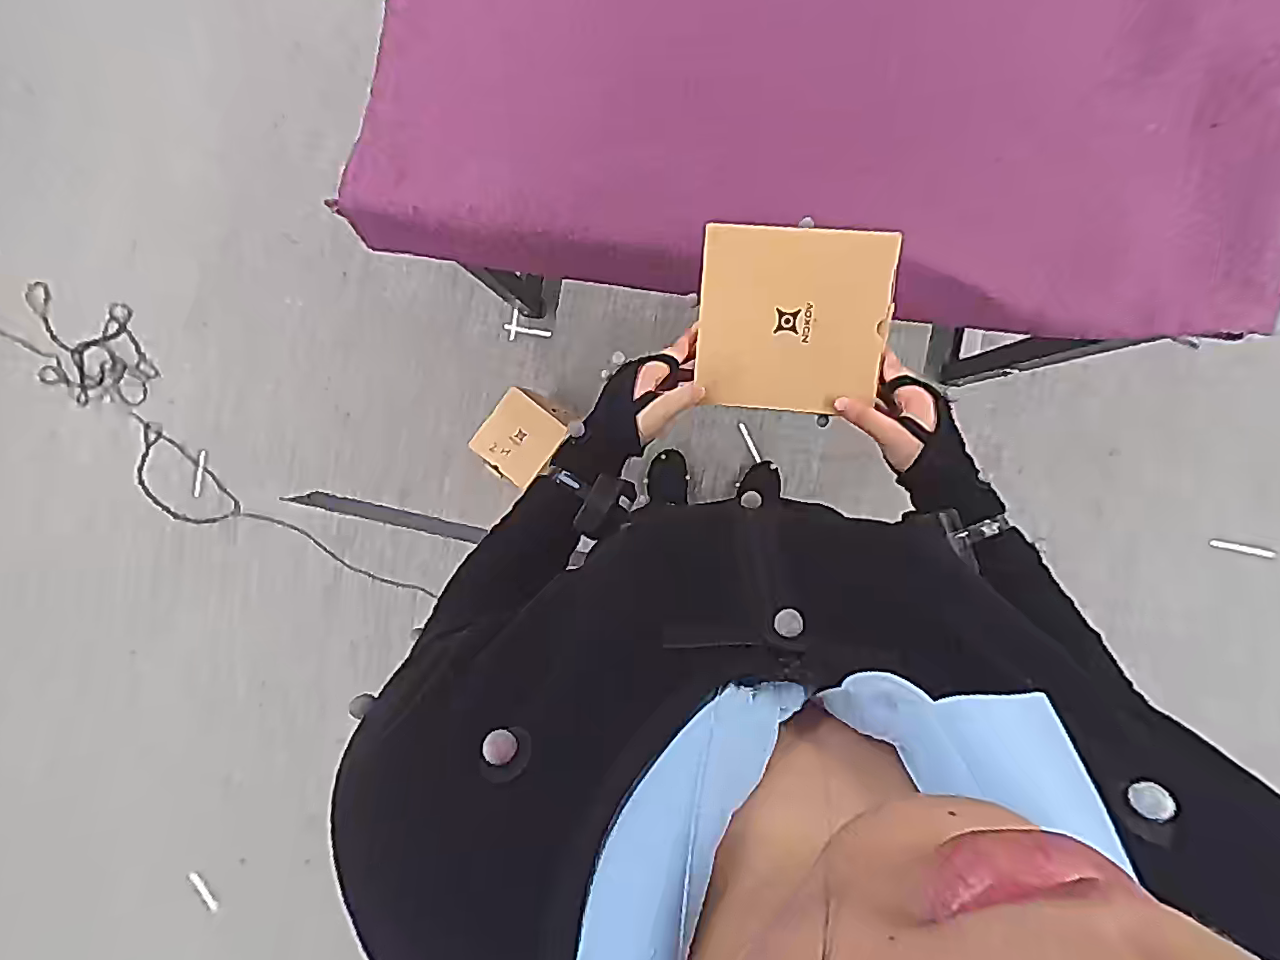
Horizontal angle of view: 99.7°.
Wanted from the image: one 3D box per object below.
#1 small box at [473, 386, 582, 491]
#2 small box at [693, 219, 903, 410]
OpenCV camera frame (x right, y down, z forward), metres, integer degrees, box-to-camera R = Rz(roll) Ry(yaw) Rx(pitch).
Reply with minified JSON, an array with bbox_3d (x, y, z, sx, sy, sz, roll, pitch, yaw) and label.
[{"bbox_3d":[-0.255,-0.098,1.278,0.168,0.176,0.179,39,97,1],"label":"small box"},{"bbox_3d":[0.149,-0.166,0.578,0.179,0.176,0.168,4,101,4],"label":"small box"}]
